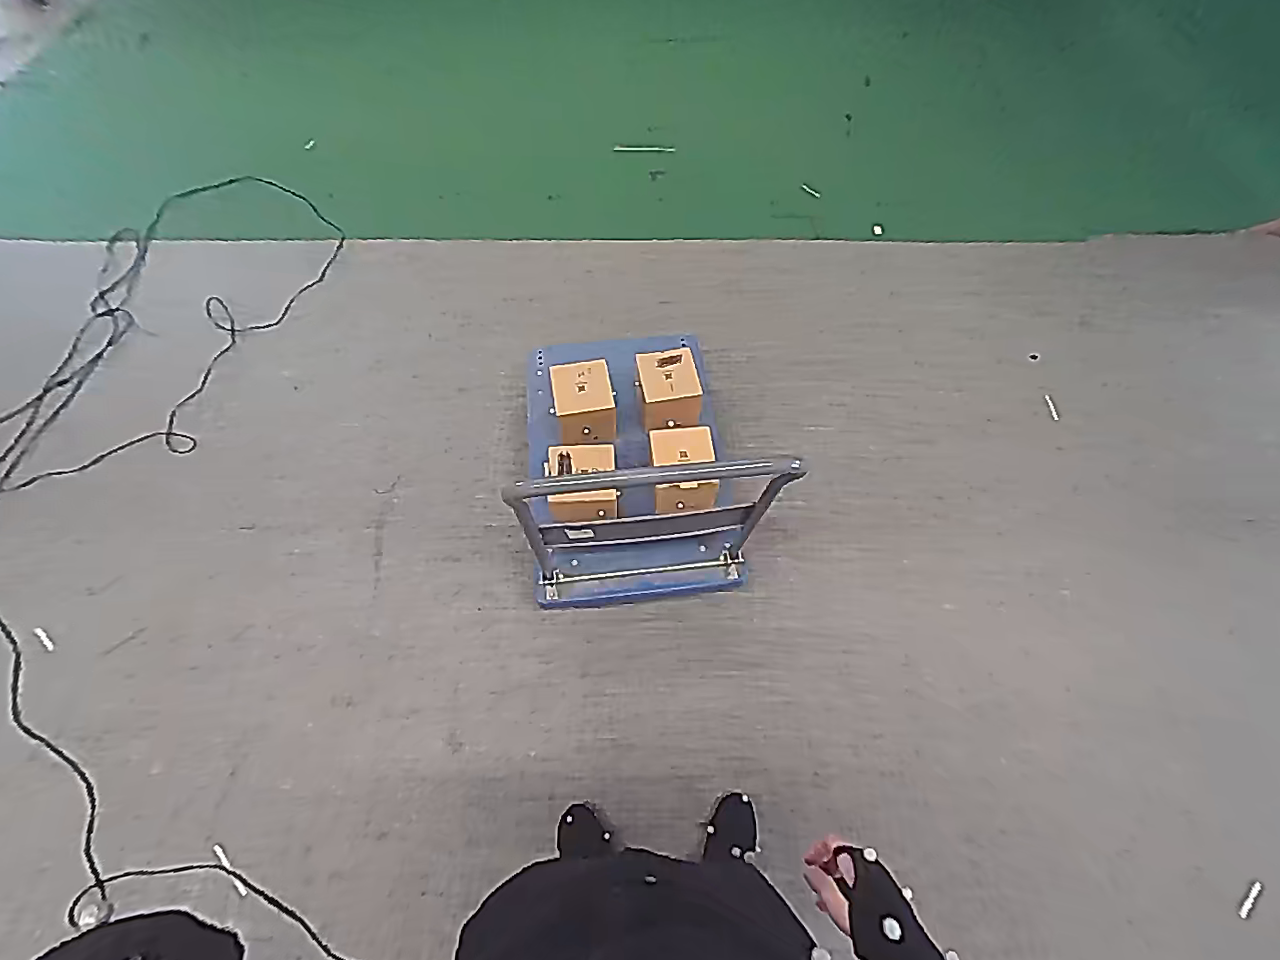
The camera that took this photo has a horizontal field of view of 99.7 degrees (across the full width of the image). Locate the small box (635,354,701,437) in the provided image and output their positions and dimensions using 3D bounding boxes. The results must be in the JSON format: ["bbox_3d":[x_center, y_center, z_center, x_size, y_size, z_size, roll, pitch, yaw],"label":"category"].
[{"bbox_3d":[0.078,-0.253,1.642,0.168,0.176,0.179,-9,64,-5],"label":"small box"}]

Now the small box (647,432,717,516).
[{"bbox_3d":[0.112,-0.015,1.519,0.168,0.176,0.179,-5,63,-4],"label":"small box"}]

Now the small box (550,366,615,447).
[{"bbox_3d":[-0.169,-0.212,1.617,0.168,0.176,0.179,-9,63,-6],"label":"small box"}]
